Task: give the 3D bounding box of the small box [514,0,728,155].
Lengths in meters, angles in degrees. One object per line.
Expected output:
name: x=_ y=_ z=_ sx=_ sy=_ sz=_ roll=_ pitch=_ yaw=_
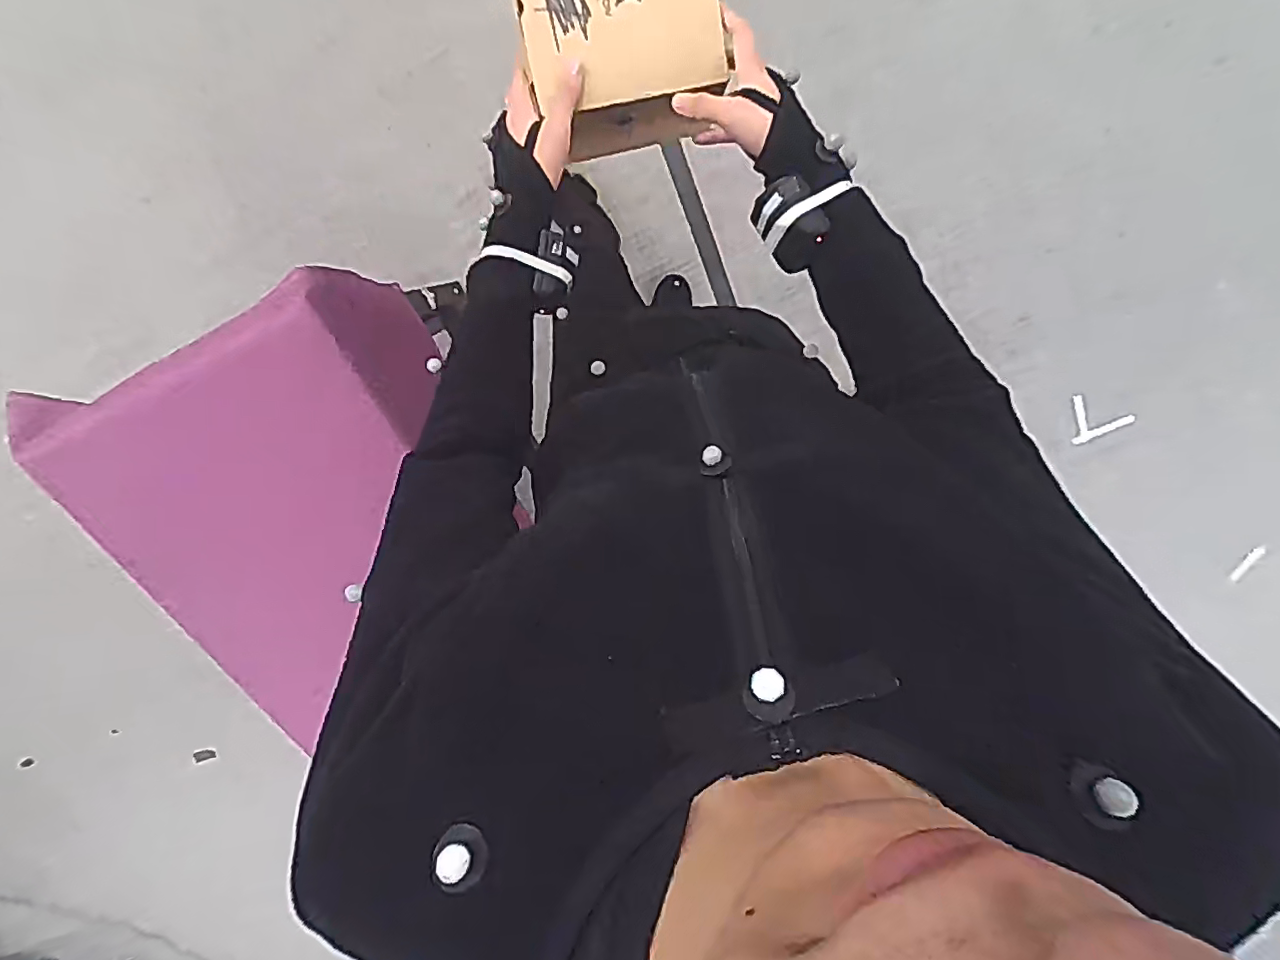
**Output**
small box: x=-0.021 y=-0.443 z=0.531 sx=0.179 sy=0.176 sz=0.168 roll=-11 pitch=109 yaw=3
